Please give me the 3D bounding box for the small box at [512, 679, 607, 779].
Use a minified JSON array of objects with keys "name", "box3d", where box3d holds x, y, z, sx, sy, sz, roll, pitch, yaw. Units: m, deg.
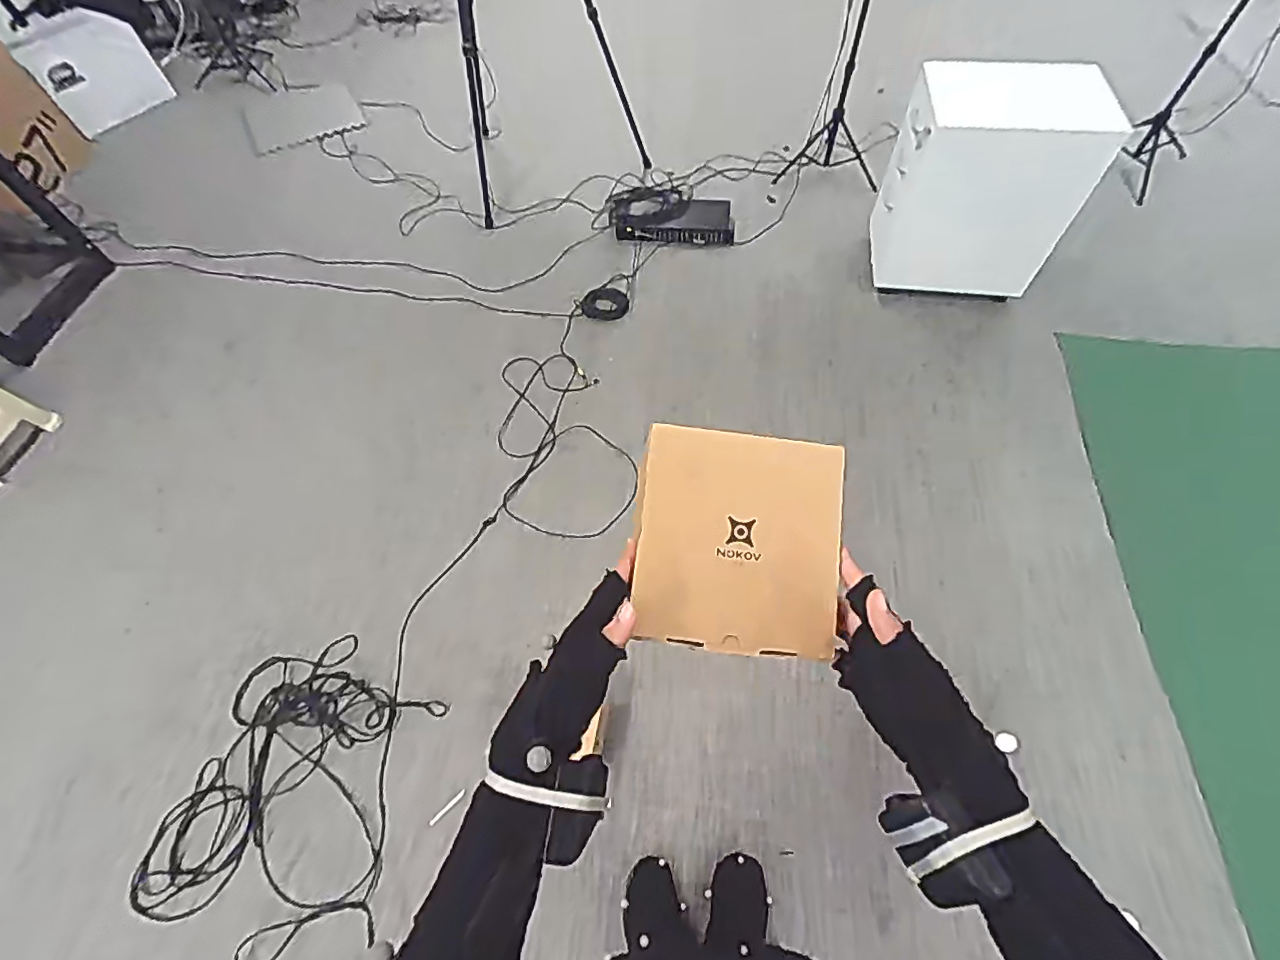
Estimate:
[{"name":"small box","box3d":[-0.175,0.577,1.244,0.168,0.176,0.179,7,59,7]}]
